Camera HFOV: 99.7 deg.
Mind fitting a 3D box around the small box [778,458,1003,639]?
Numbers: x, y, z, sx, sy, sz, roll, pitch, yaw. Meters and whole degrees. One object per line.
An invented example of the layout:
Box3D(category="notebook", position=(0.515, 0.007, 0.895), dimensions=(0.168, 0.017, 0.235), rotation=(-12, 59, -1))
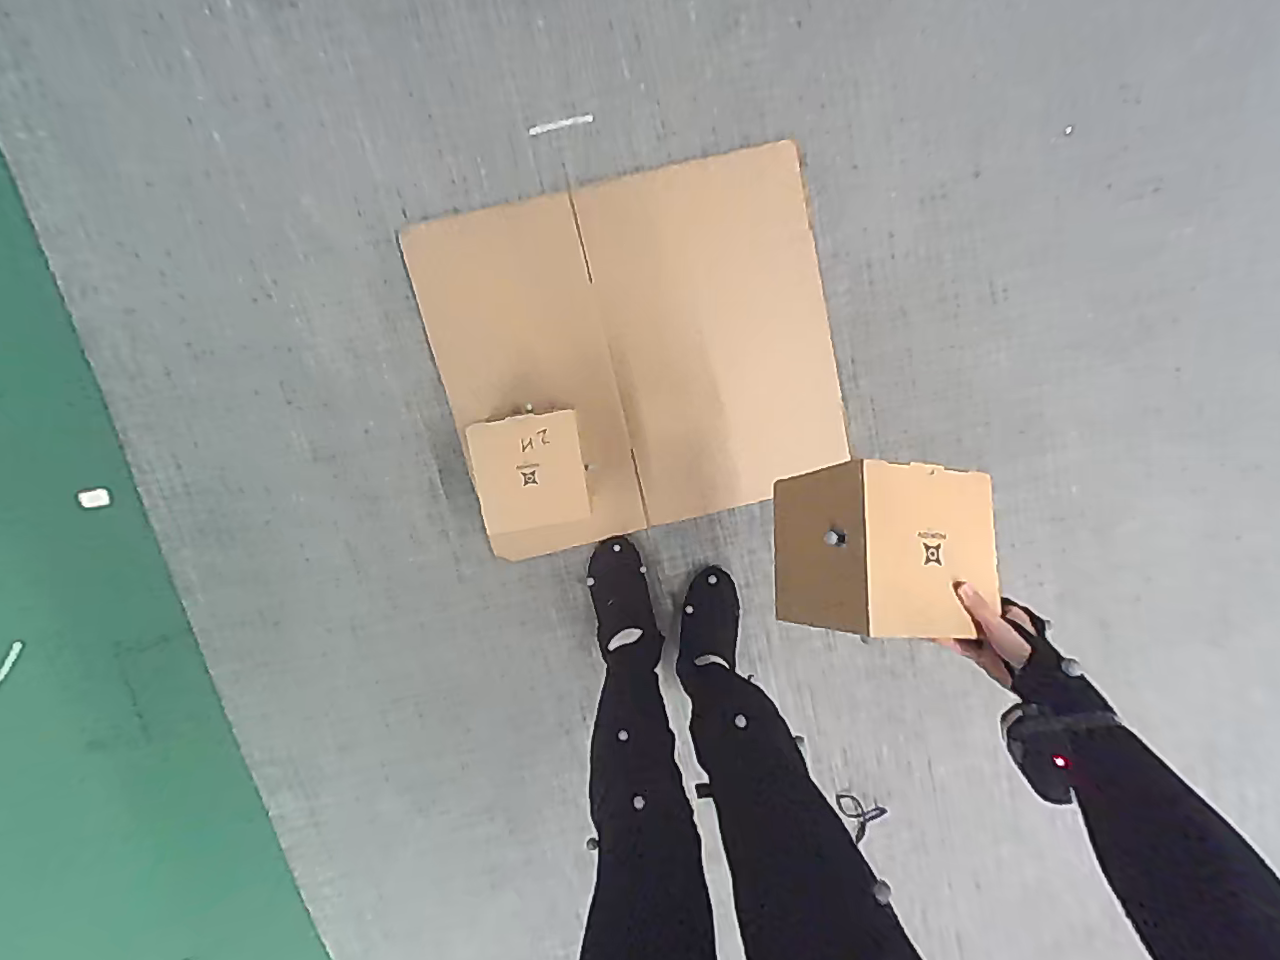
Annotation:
Box3D(category="small box", position=(0.272, 0.083, 0.621), dimensions=(0.168, 0.176, 0.179), rotation=(5, 78, -16))

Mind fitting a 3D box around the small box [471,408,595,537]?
Box3D(category="small box", position=(-0.166, -0.020, 0.895), dimensions=(0.168, 0.176, 0.179), rotation=(-8, 100, -3))
